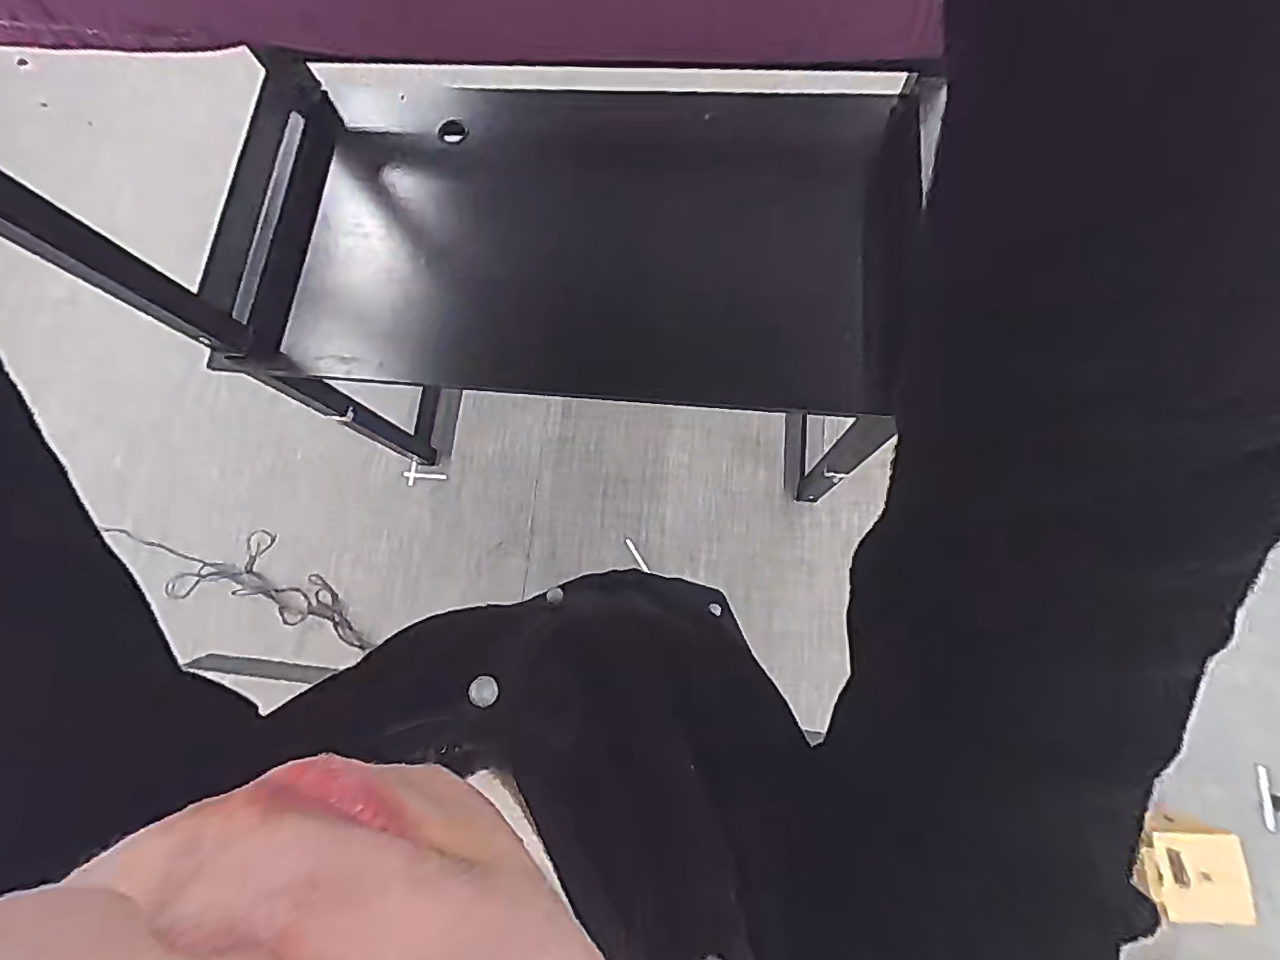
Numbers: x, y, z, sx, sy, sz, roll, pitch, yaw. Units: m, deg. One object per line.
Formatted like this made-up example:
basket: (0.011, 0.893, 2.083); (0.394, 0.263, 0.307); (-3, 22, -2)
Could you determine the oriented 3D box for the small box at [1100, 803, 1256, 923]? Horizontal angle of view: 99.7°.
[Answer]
small box: (1.171, 0.838, 1.199); (0.179, 0.176, 0.168); (-1, 78, 4)
